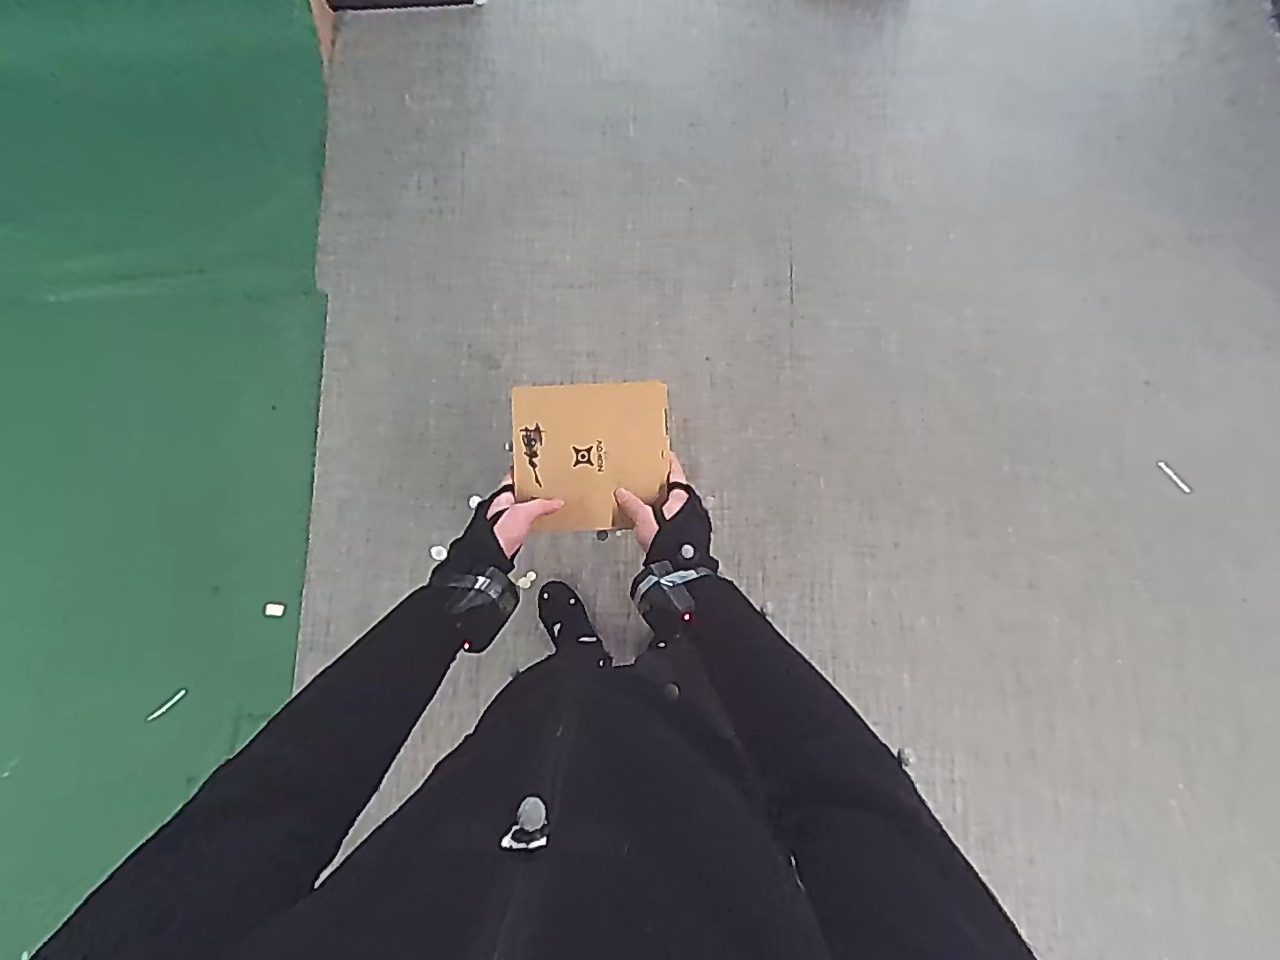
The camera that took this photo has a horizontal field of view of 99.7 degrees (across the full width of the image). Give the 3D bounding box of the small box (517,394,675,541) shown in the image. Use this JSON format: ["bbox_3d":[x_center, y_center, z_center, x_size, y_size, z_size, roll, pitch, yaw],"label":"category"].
[{"bbox_3d":[-0.052,-0.011,0.684,0.179,0.176,0.168,-2,86,-1],"label":"small box"}]
